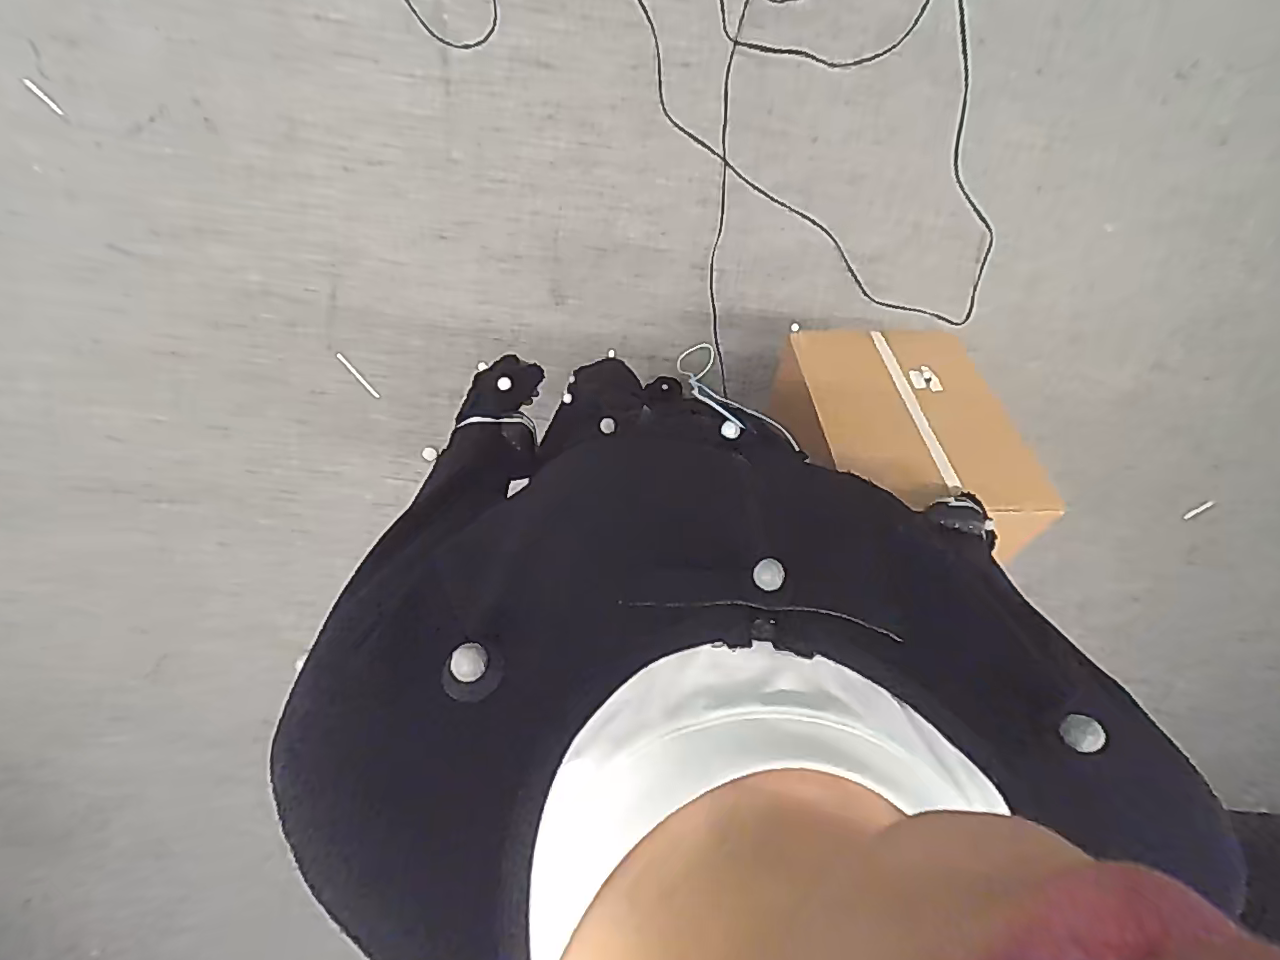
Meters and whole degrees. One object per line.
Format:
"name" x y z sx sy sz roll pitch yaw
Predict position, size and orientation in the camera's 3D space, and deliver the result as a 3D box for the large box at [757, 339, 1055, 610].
"large box" 0.430 -0.011 1.002 0.320 0.408 0.320 0 141 -4
